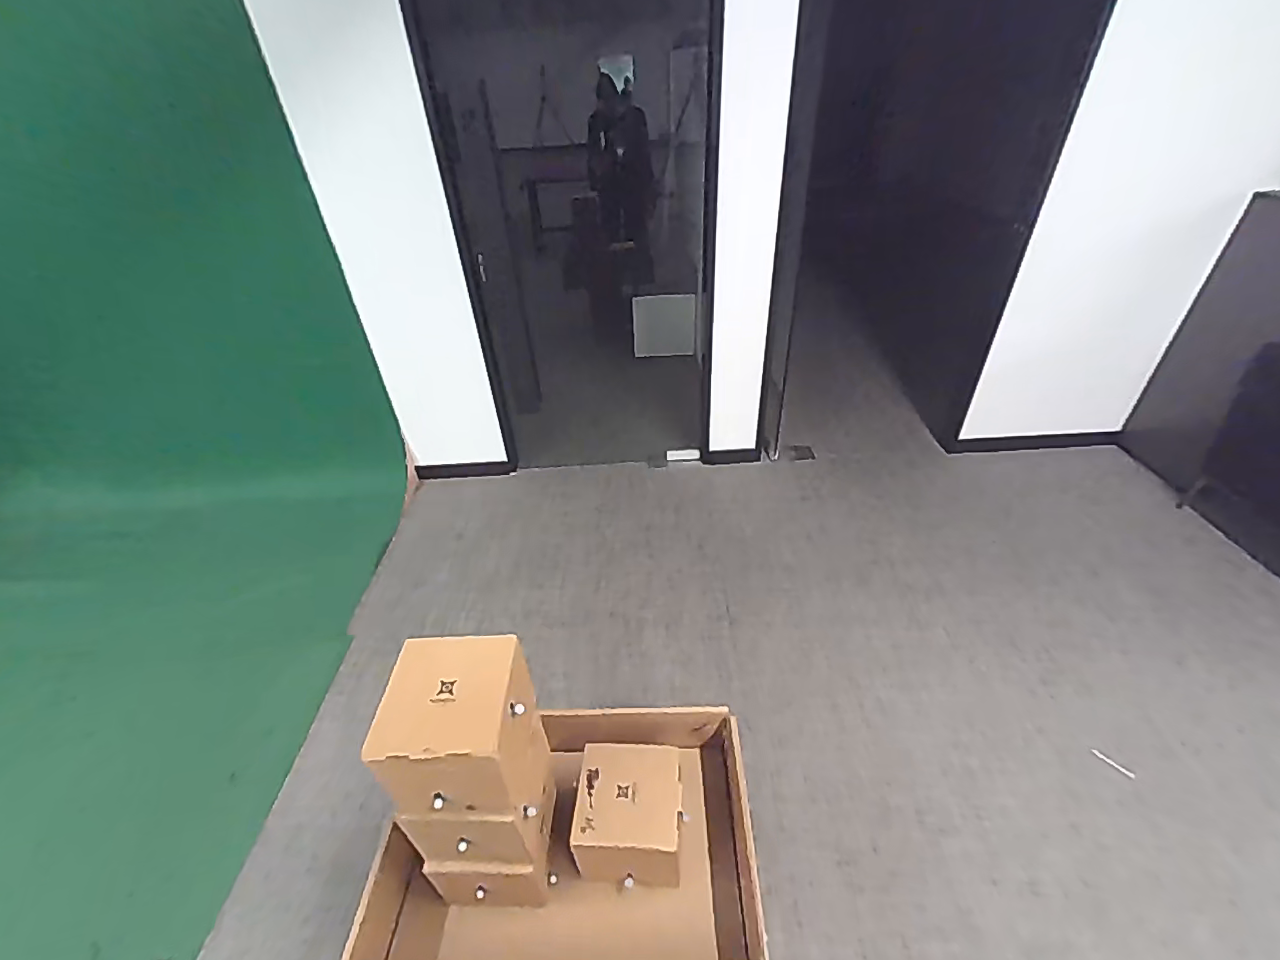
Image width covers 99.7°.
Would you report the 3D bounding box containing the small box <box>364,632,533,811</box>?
[{"bbox_3d":[-0.253,0.340,0.767,0.168,0.176,0.179,-3,37,1],"label":"small box"}]
